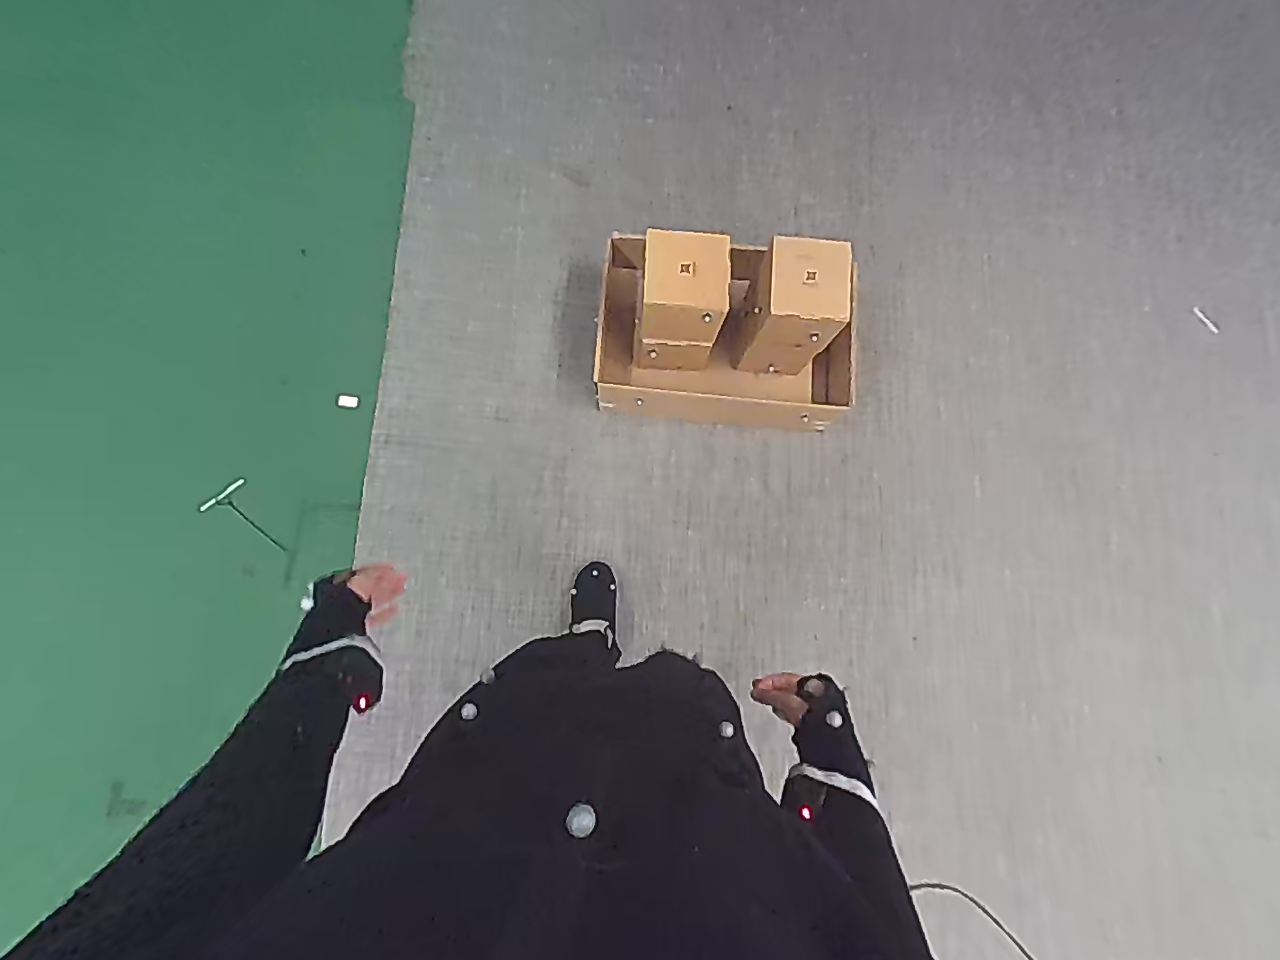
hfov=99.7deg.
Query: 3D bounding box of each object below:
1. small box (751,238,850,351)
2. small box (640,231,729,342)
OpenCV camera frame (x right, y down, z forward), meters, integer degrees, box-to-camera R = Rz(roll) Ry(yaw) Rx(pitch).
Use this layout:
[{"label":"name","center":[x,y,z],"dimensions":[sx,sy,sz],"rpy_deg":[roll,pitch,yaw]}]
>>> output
[{"label":"small box","center":[0.346,-0.400,1.189],"dimensions":[0.168,0.176,0.179],"rpy_deg":[5,80,-1]},{"label":"small box","center":[0.091,-0.415,1.182],"dimensions":[0.179,0.176,0.168],"rpy_deg":[3,80,-3]}]
